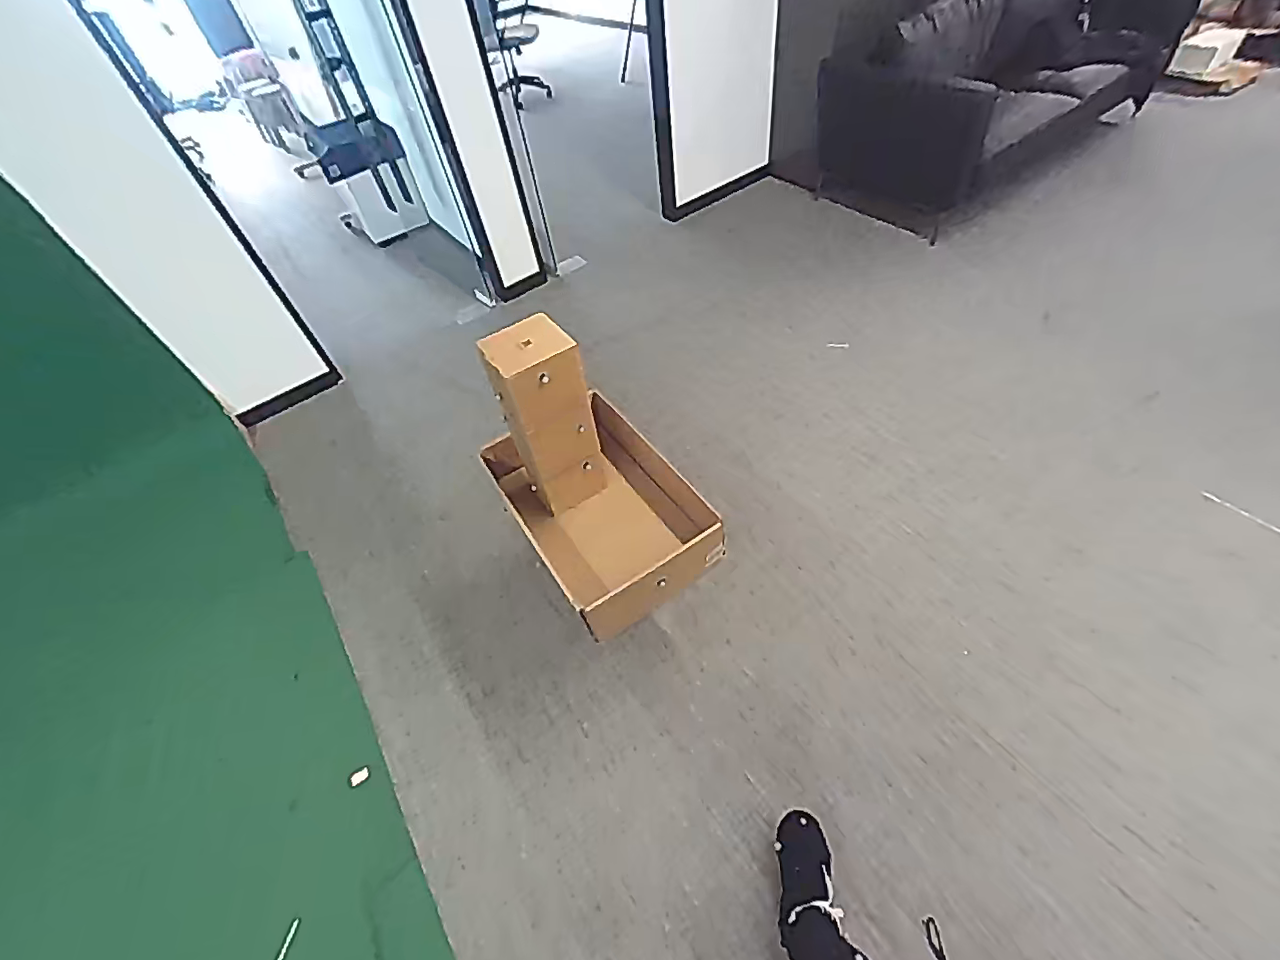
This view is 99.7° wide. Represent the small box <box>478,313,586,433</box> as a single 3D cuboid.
[{"bbox_3d":[-0.236,-0.241,1.227,0.179,0.176,0.168,-31,54,-17],"label":"small box"}]
